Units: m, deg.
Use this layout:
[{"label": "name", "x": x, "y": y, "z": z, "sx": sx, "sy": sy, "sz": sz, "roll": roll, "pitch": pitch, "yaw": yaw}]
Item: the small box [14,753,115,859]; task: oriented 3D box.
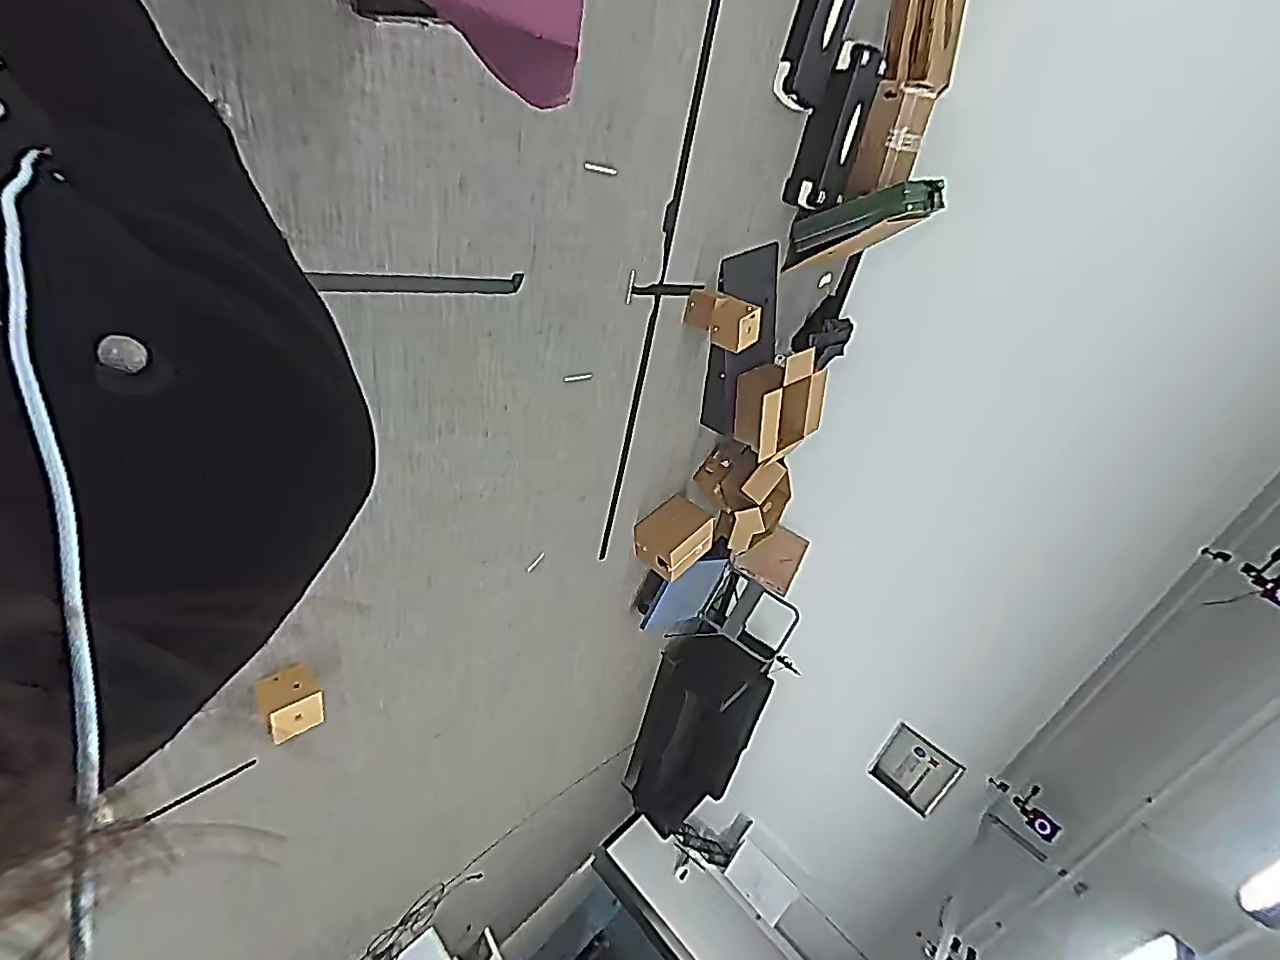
[{"label": "small box", "x": -1.659, "y": 0.927, "z": 1.560, "sx": 0.168, "sy": 0.176, "sz": 0.179, "roll": -16, "pitch": 132, "yaw": -46}]

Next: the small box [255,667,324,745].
[{"label": "small box", "x": -1.282, "y": 0.813, "z": 1.977, "sx": 0.168, "sy": 0.176, "sz": 0.179, "roll": -19, "pitch": 134, "yaw": -46}]
